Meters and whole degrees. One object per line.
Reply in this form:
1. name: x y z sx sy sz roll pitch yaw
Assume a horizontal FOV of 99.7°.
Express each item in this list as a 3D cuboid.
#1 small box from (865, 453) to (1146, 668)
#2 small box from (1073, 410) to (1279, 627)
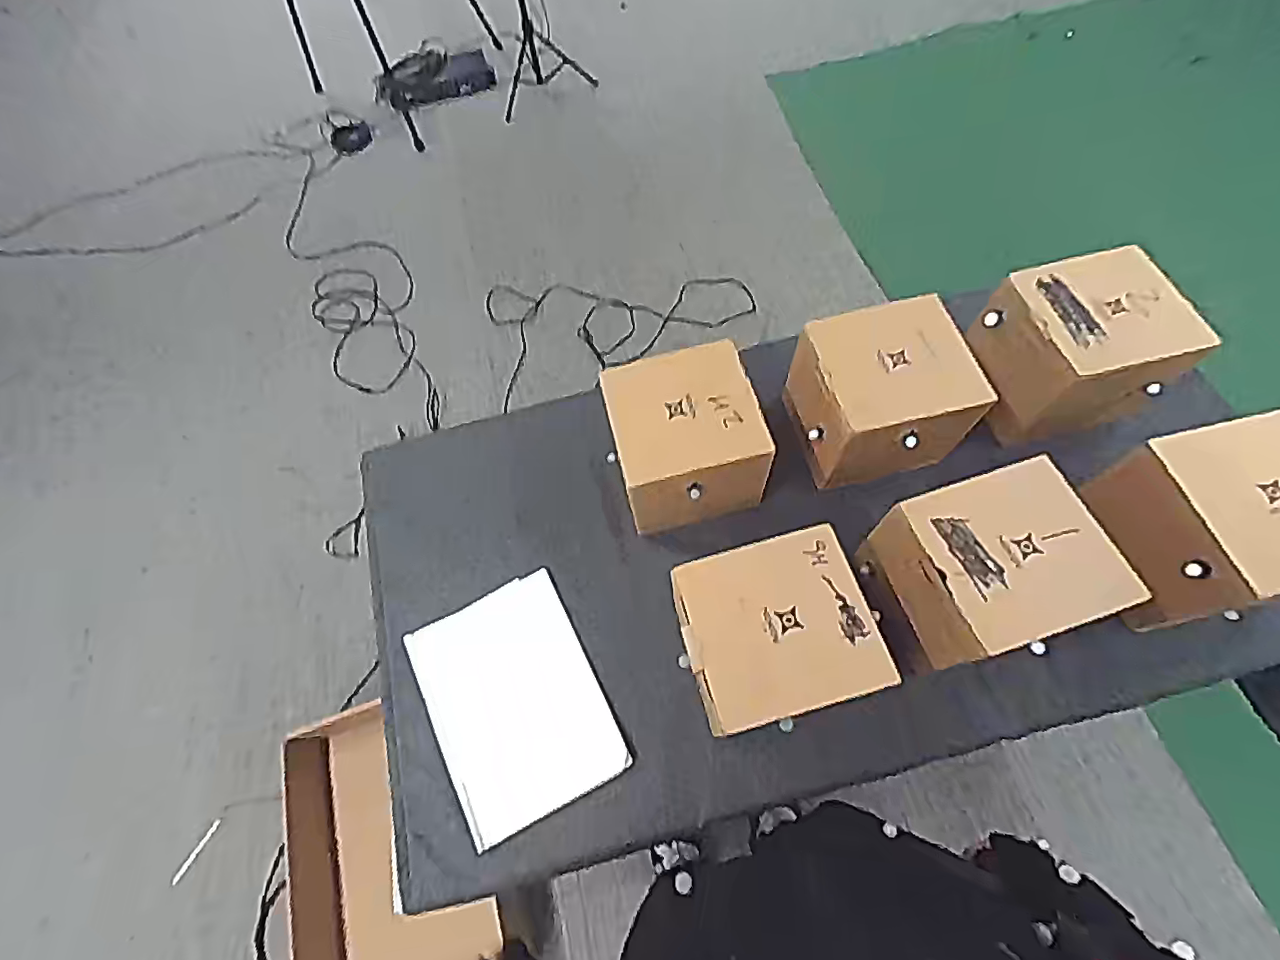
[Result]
1. small box: 0.377 0.099 0.606 0.179 0.176 0.168 -17 64 -4
2. small box: 0.634 0.050 0.609 0.168 0.176 0.179 -12 64 -1
